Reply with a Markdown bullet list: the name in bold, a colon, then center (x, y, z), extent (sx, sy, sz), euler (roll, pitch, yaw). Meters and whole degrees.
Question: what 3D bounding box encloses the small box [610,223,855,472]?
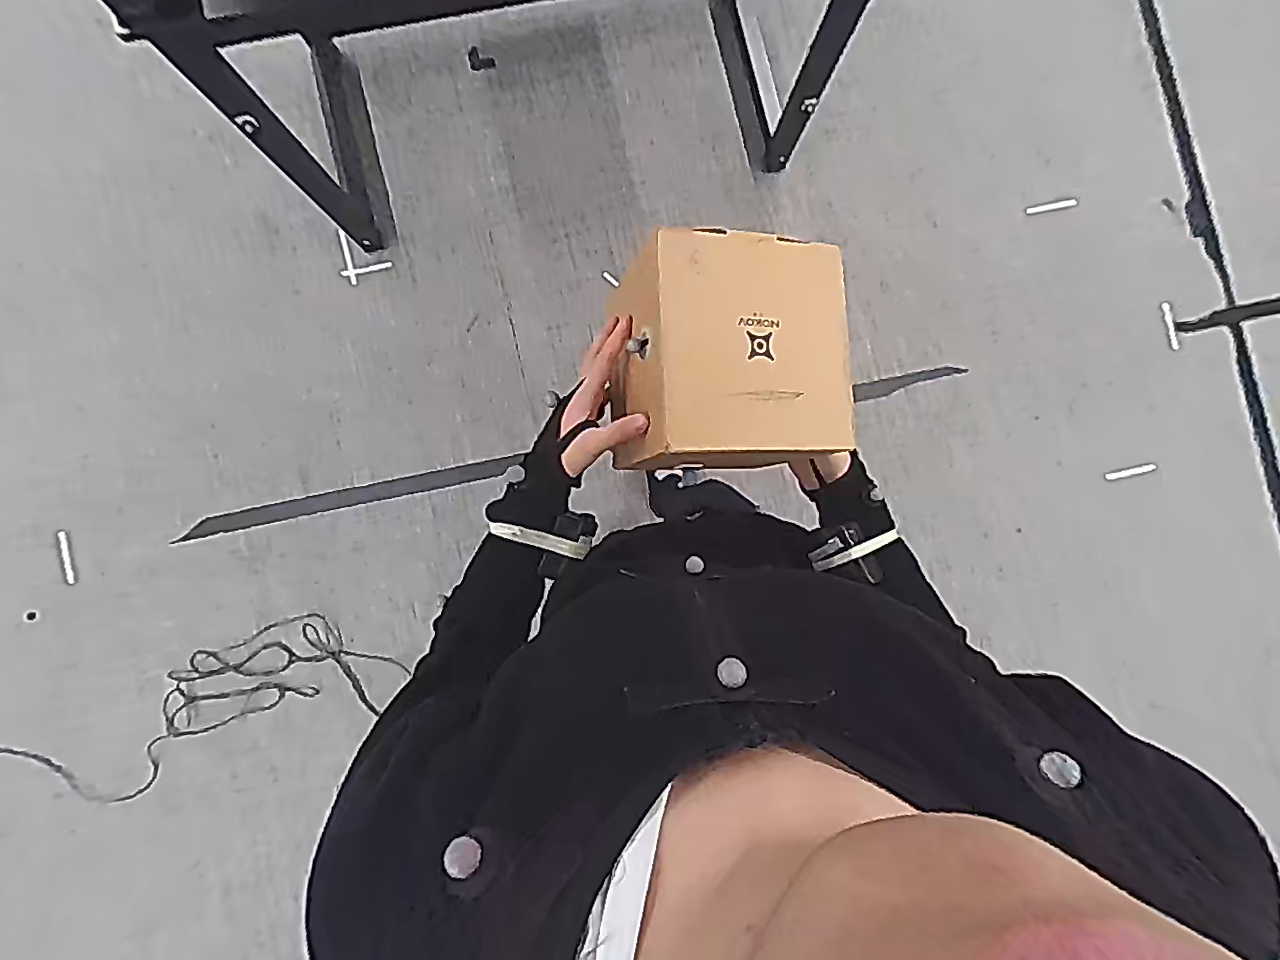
- **small box**: center (0.071, -0.102, 0.498), extent (0.168, 0.176, 0.179), euler (-1, 87, -17)
